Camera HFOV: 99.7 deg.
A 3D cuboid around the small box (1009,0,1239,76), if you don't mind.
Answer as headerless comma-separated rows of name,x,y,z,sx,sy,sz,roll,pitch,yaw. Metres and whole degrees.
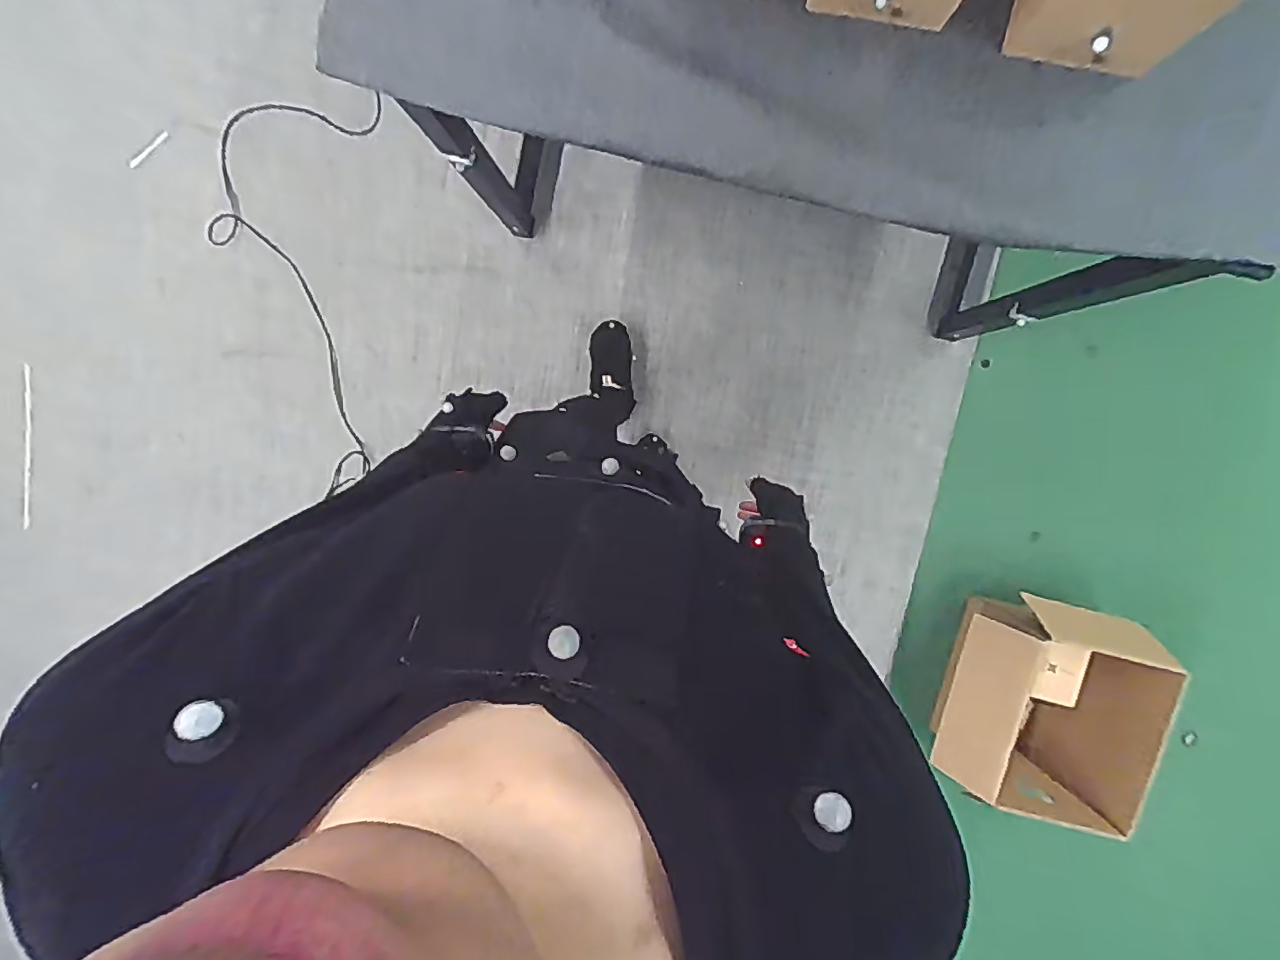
small box,0.526,-0.572,0.557,0.168,0.176,0.179,12,97,2
